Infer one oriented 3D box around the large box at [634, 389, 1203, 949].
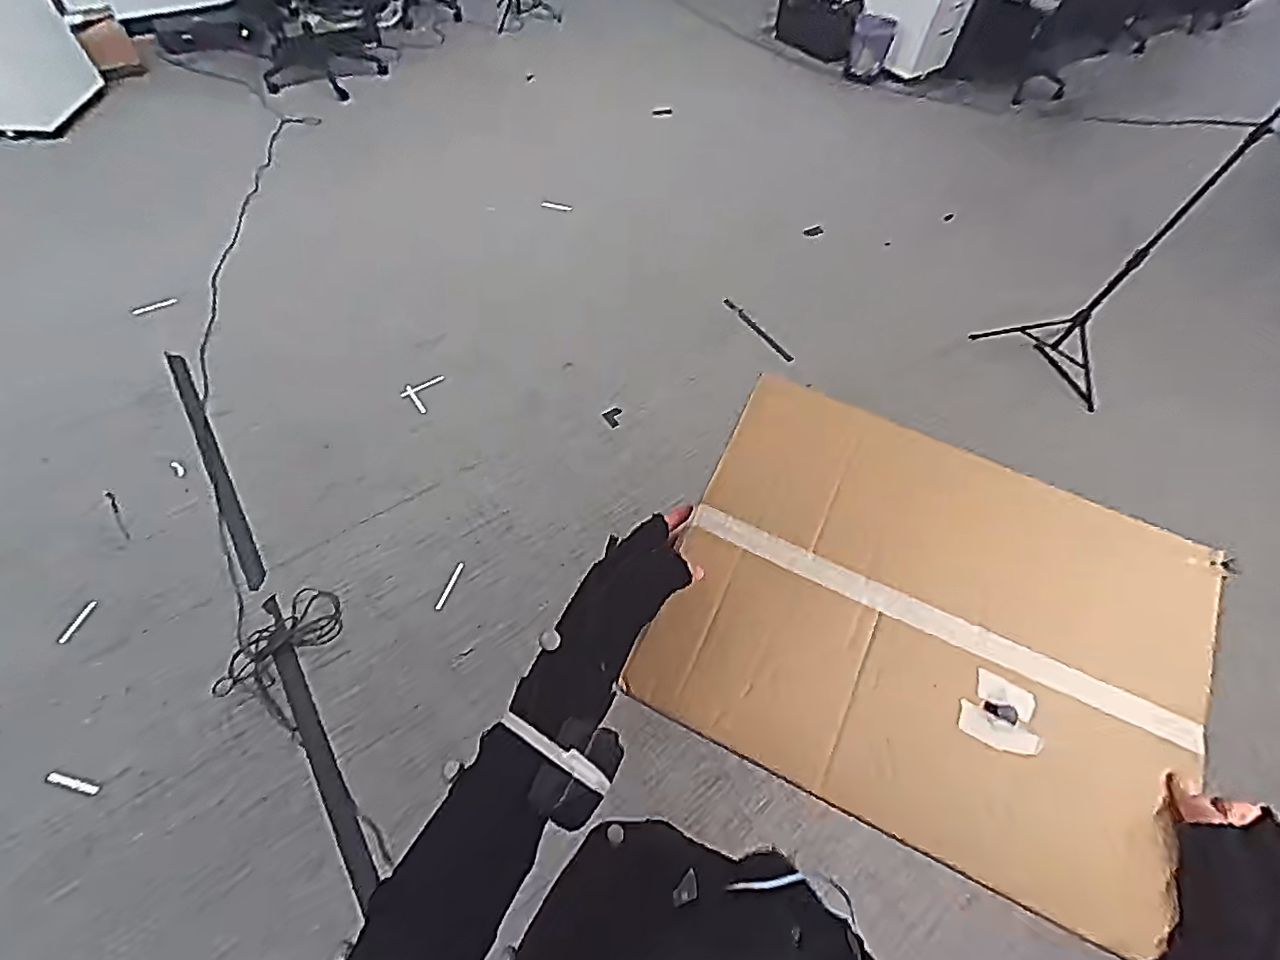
[{"bbox_3d":[0.237,0.166,0.585,0.408,0.320,0.320,25,73,10],"label":"large box"}]
